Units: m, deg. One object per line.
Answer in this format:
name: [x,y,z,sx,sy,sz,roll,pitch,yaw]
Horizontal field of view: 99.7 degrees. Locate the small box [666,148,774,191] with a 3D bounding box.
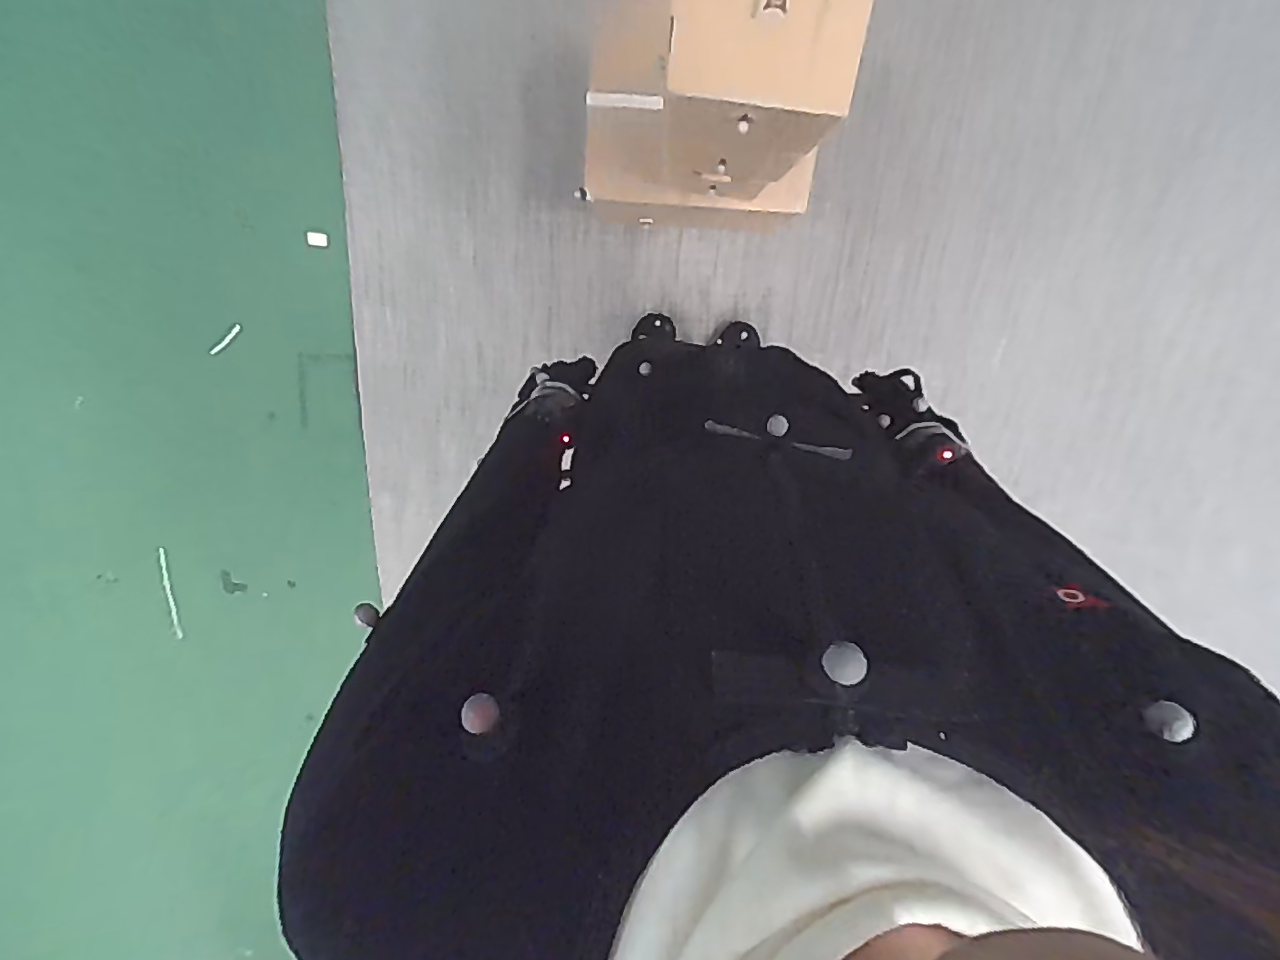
small box: [0.137,-0.570,0.853,0.168,0.176,0.179,8,111,1]

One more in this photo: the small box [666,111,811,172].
small box: [0.132,-0.510,0.699,0.179,0.176,0.168,8,110,3]

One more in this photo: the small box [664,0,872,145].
small box: [0.122,-0.457,0.547,0.179,0.176,0.168,7,111,1]
